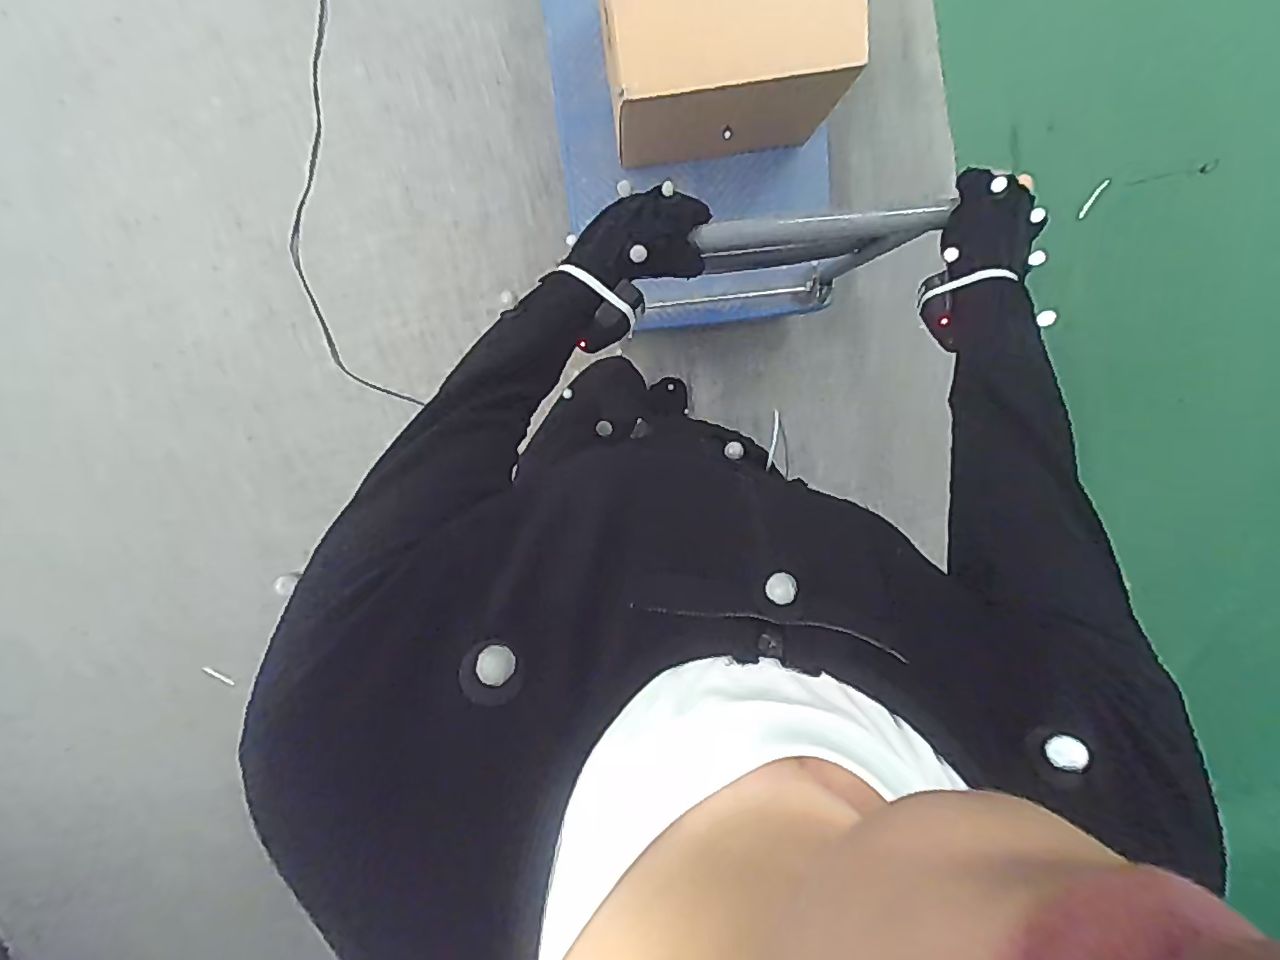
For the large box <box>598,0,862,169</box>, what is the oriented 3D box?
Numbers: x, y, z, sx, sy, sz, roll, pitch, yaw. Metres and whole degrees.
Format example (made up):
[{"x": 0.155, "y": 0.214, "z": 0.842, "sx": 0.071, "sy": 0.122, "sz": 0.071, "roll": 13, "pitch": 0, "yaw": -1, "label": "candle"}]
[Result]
[{"x": 0.139, "y": -0.818, "z": 0.995, "sx": 0.408, "sy": 0.320, "sz": 0.320, "roll": -9, "pitch": 101, "yaw": 0, "label": "large box"}]
